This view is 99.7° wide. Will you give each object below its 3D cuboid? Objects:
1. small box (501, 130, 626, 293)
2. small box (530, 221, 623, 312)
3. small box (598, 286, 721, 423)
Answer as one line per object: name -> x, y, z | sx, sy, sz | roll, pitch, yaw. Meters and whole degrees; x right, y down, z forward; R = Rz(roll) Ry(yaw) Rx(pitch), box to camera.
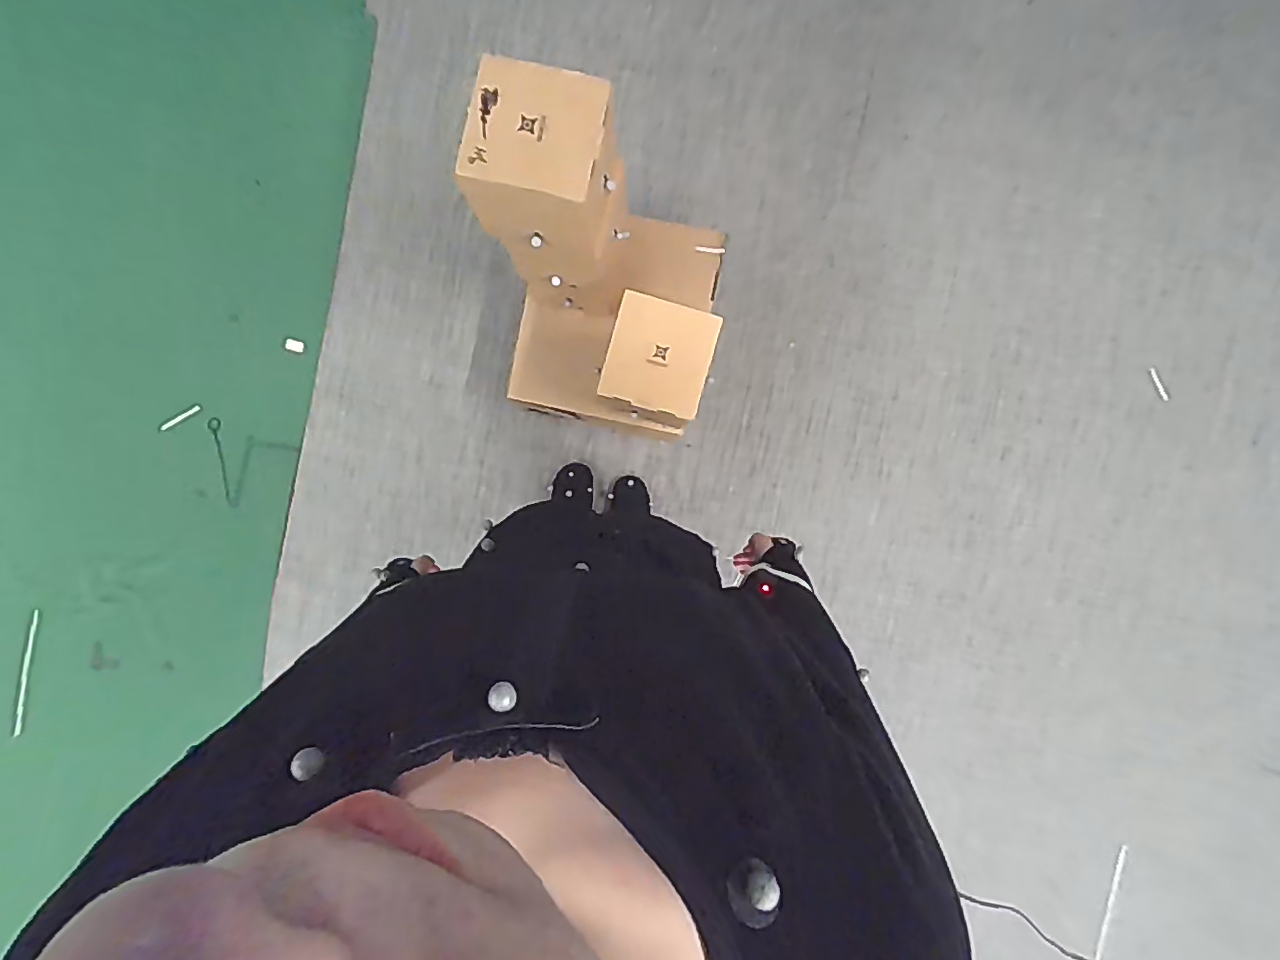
small box -> -0.124, -0.453, 0.938 | 0.168, 0.176, 0.179 | 14, 90, 0
small box -> -0.131, -0.468, 1.103 | 0.168, 0.176, 0.179 | 12, 89, 0
small box -> 0.027, -0.208, 0.946 | 0.168, 0.176, 0.179 | 15, 91, -3
